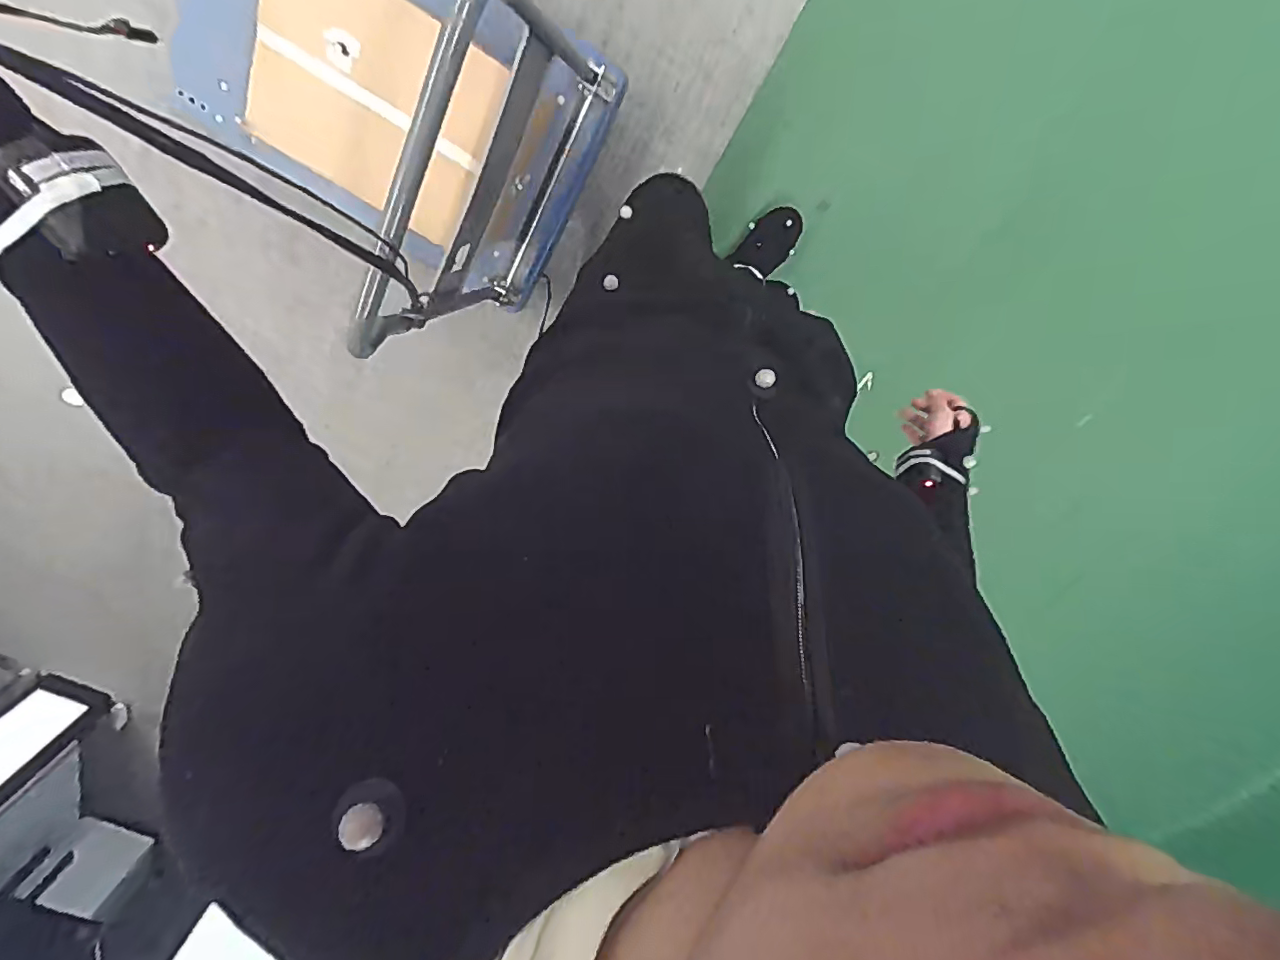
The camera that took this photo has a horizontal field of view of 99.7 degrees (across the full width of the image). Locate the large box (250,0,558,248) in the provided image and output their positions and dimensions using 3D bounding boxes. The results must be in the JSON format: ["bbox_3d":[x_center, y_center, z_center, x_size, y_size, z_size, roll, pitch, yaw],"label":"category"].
[{"bbox_3d":[-0.424,-0.704,1.036,0.408,0.320,0.320,29,117,-9],"label":"large box"}]
